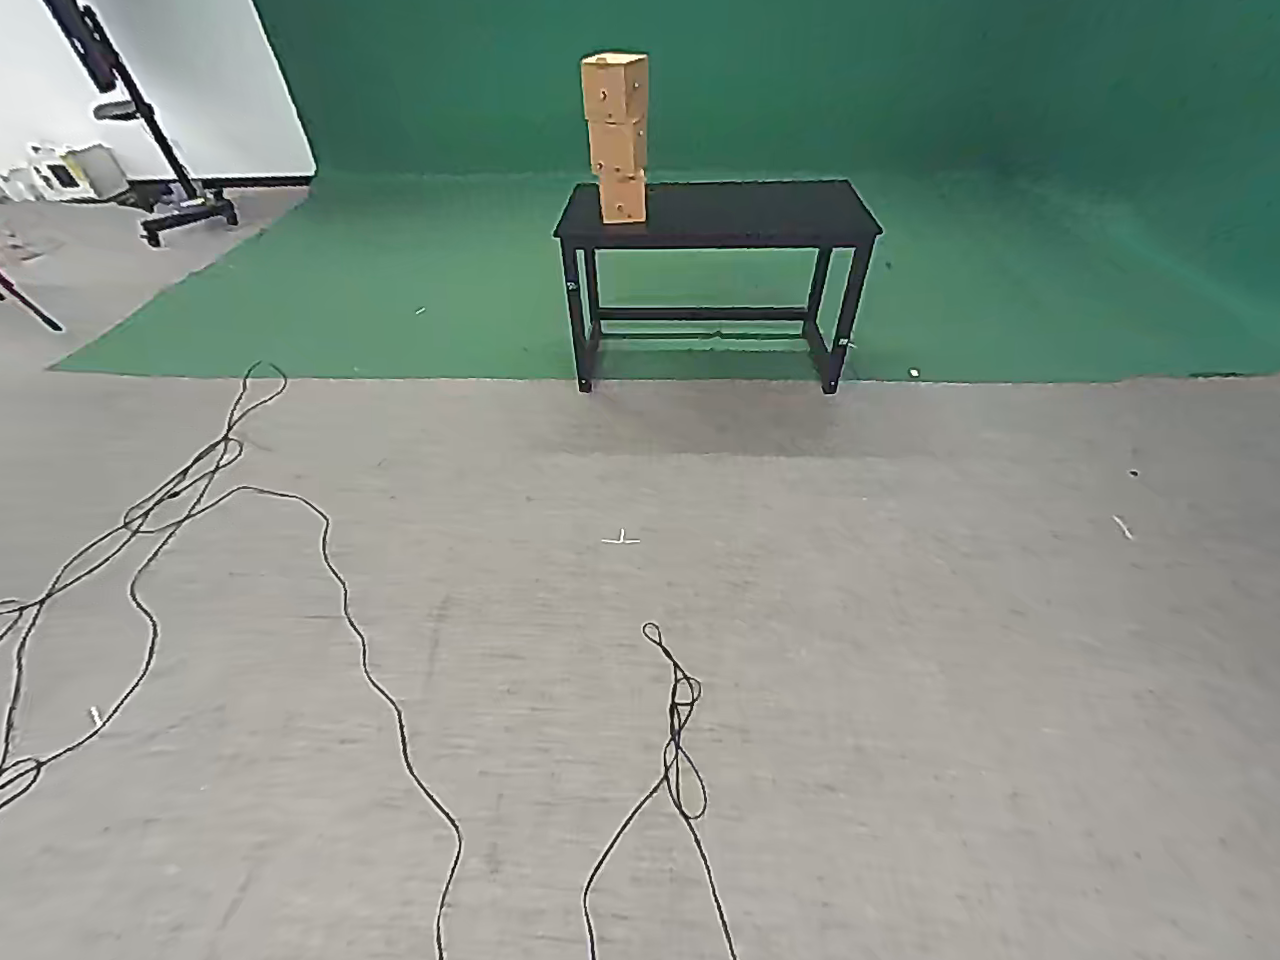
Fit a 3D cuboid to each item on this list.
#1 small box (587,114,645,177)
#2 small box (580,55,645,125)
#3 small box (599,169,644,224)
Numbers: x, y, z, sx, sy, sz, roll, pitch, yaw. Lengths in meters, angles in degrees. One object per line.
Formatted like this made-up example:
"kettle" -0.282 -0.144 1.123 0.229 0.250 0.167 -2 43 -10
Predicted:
"small box" -0.080 -1.226 1.979 0.168 0.176 0.179 11 46 12
"small box" -0.086 -1.348 1.868 0.168 0.176 0.179 19 50 19
"small box" -0.072 -1.108 2.094 0.168 0.176 0.179 -5 45 -3
